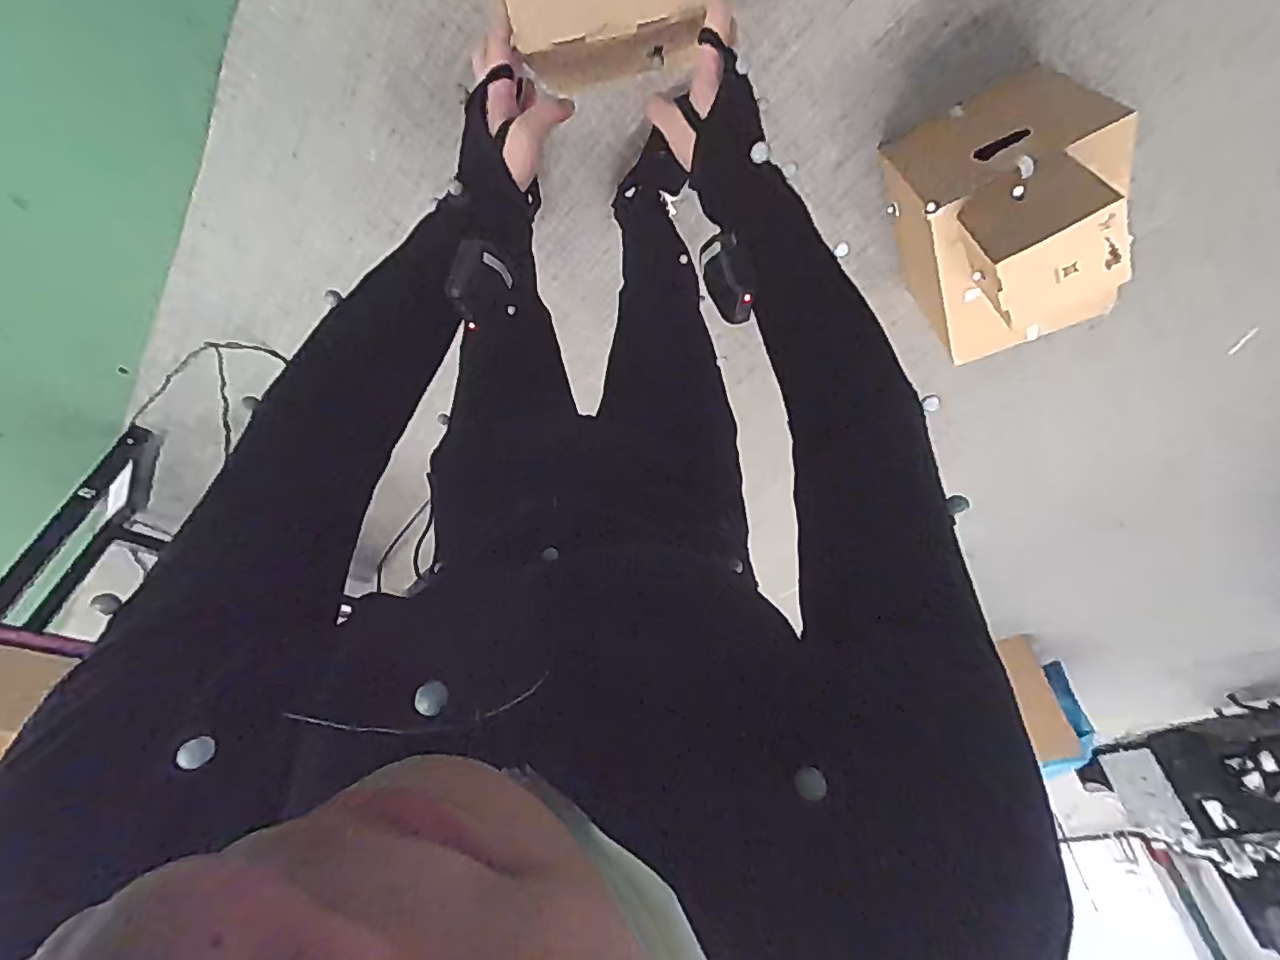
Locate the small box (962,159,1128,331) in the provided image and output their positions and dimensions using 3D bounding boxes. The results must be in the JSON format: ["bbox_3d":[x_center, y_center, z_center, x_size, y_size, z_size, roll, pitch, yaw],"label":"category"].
[{"bbox_3d":[0.675,-0.396,0.918,0.179,0.176,0.168,-26,134,28],"label":"small box"}]

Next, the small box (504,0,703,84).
[{"bbox_3d":[-0.034,-0.482,0.486,0.168,0.176,0.179,-6,115,6],"label":"small box"}]
